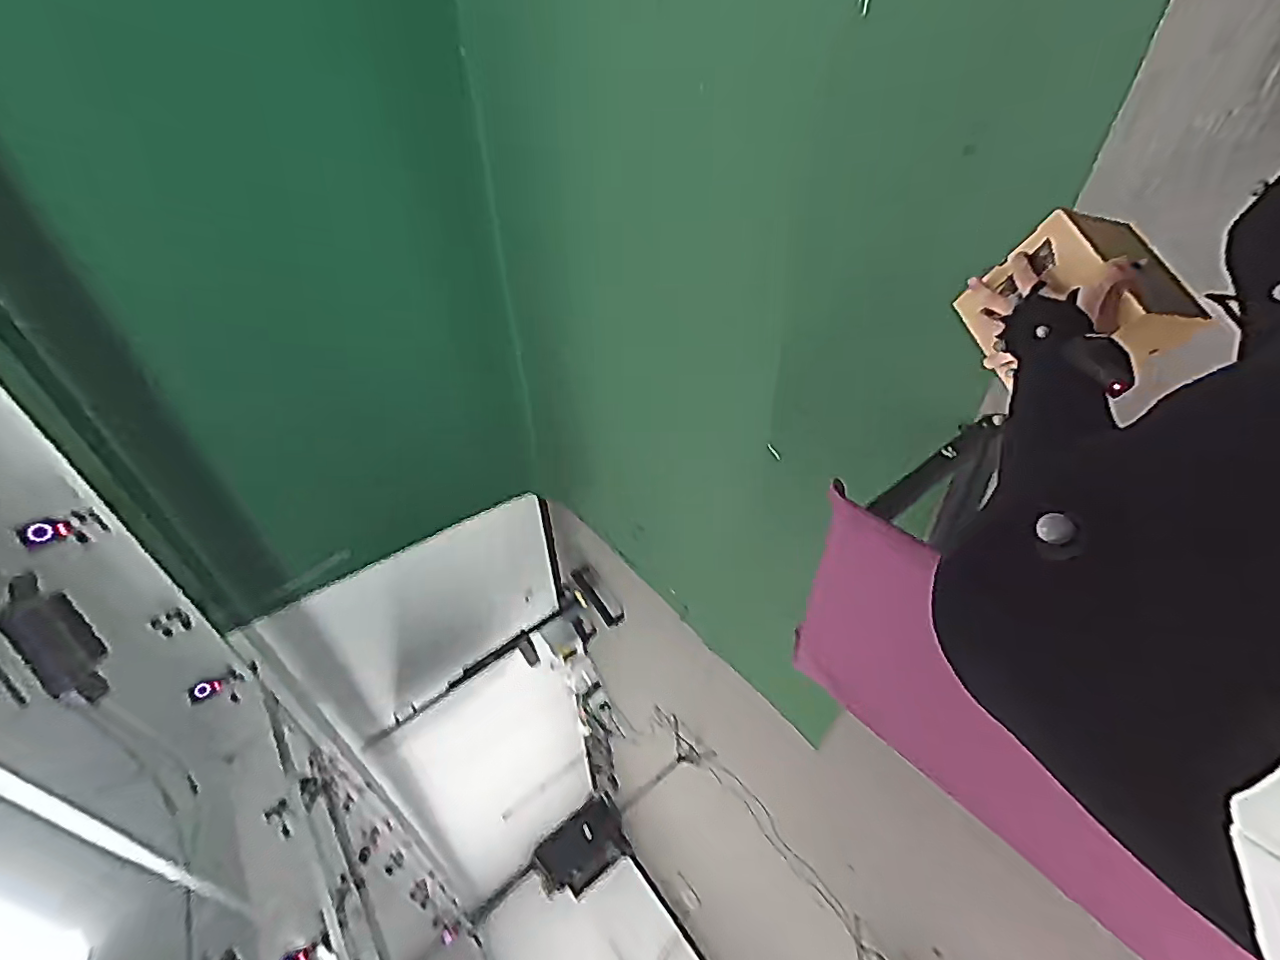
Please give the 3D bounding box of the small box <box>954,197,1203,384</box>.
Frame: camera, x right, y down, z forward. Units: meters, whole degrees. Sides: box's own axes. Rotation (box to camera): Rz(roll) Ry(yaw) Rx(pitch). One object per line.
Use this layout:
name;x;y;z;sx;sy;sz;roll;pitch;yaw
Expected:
small box;0.585;-0.245;0.735;0.168;0.176;0.179;-53;48;55
